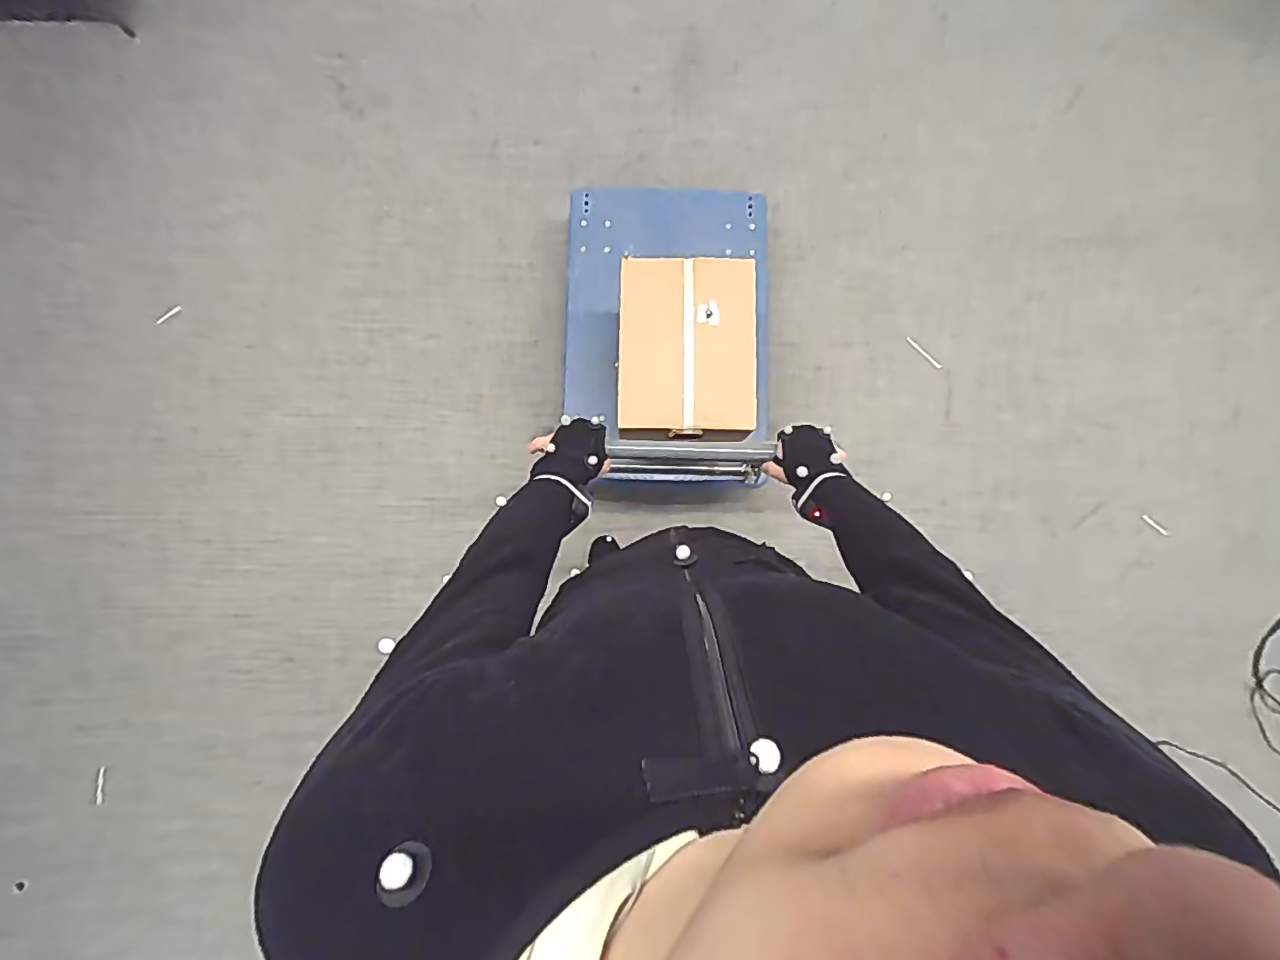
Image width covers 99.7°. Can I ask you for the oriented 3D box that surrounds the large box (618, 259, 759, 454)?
[{"bbox_3d":[0.109,-0.287,1.359,0.320,0.320,0.408,1,83,-1],"label":"large box"}]
